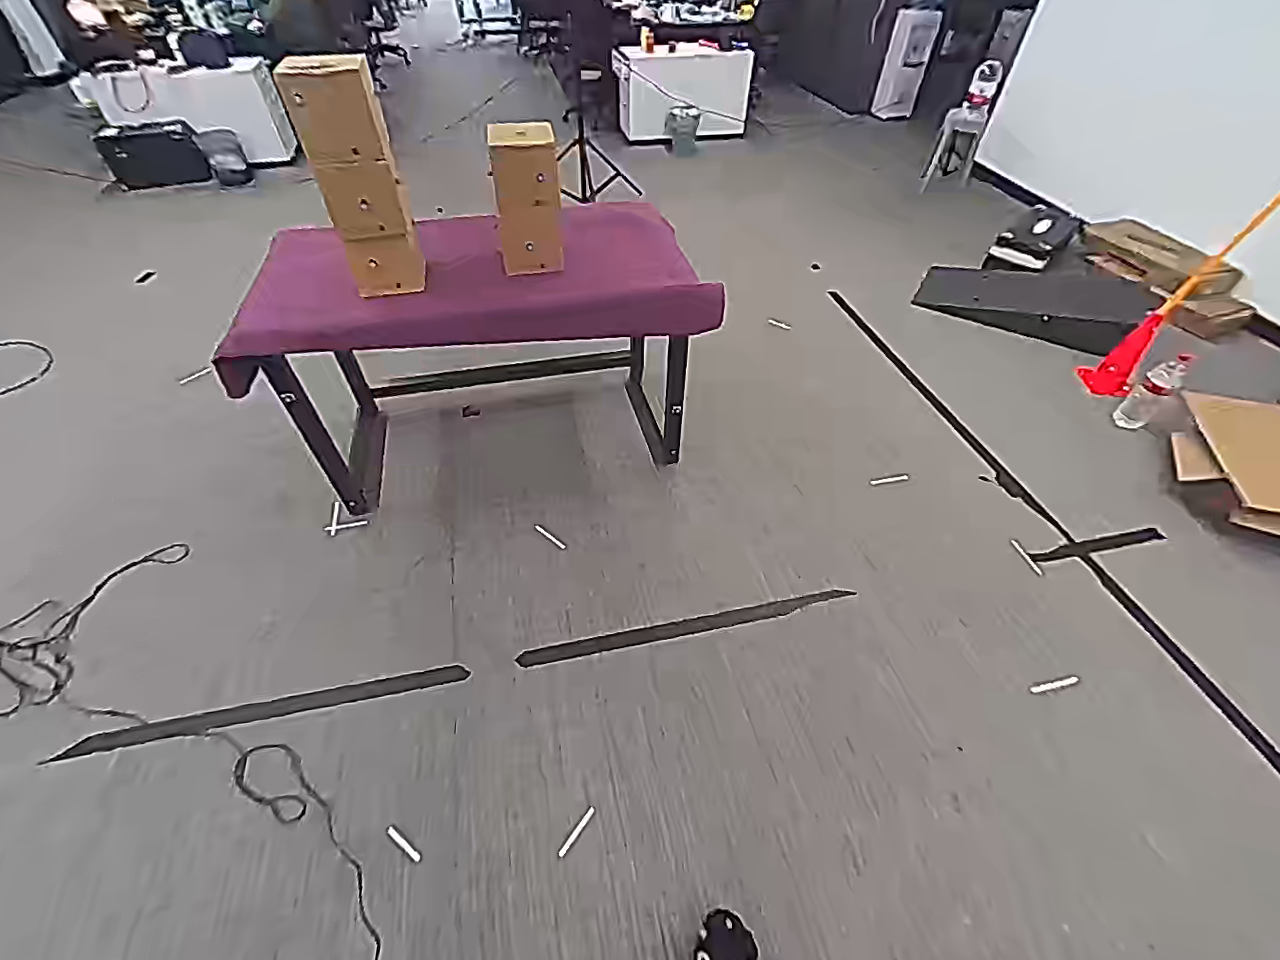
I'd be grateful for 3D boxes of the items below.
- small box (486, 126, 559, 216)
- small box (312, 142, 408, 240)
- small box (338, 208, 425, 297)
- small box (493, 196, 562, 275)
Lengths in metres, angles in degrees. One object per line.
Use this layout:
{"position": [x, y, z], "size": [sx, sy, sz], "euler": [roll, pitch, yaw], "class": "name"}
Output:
{"position": [-0.309, -0.816, 1.435], "size": [0.168, 0.176, 0.179], "euler": [-8, 48, -9], "class": "small box"}
{"position": [-0.680, -0.704, 1.329], "size": [0.168, 0.176, 0.179], "euler": [-14, 50, -13], "class": "small box"}
{"position": [-0.691, -0.609, 1.463], "size": [0.168, 0.176, 0.179], "euler": [-10, 48, -10], "class": "small box"}
{"position": [-0.322, -0.703, 1.551], "size": [0.168, 0.176, 0.179], "euler": [-9, 48, -10], "class": "small box"}
